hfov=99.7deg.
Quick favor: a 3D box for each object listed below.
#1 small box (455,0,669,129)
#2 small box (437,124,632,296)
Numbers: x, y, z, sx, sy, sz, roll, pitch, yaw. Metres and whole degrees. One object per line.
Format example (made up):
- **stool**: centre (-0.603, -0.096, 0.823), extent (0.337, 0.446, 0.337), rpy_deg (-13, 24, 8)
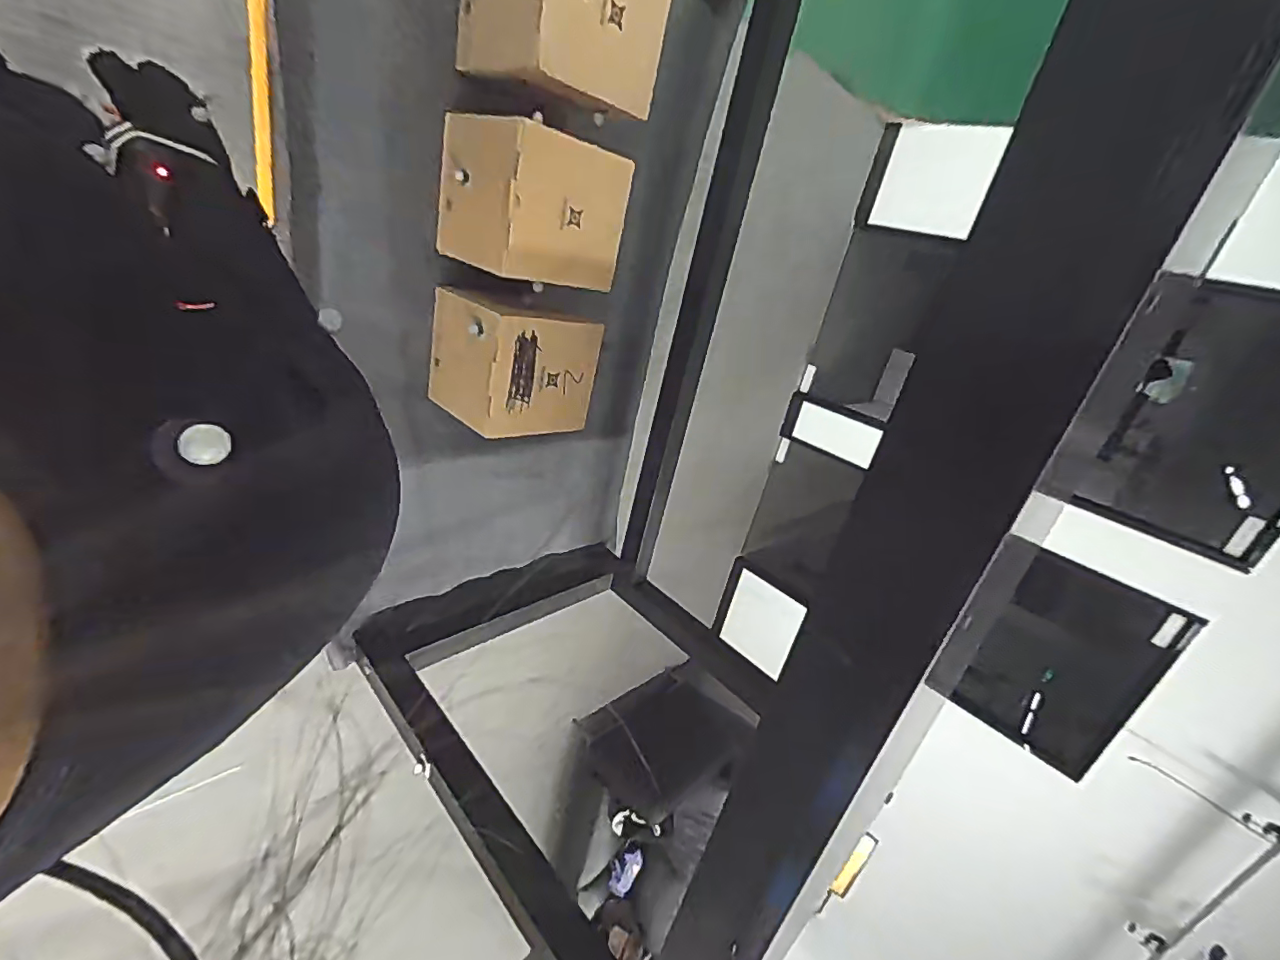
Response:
- **small box**: centre (-0.092, -0.541, 0.640), extent (0.179, 0.176, 0.168), rpy_deg (-13, 125, -45)
- **small box**: centre (-0.143, -0.356, 0.720), extent (0.179, 0.176, 0.168), rpy_deg (-12, 125, -45)
